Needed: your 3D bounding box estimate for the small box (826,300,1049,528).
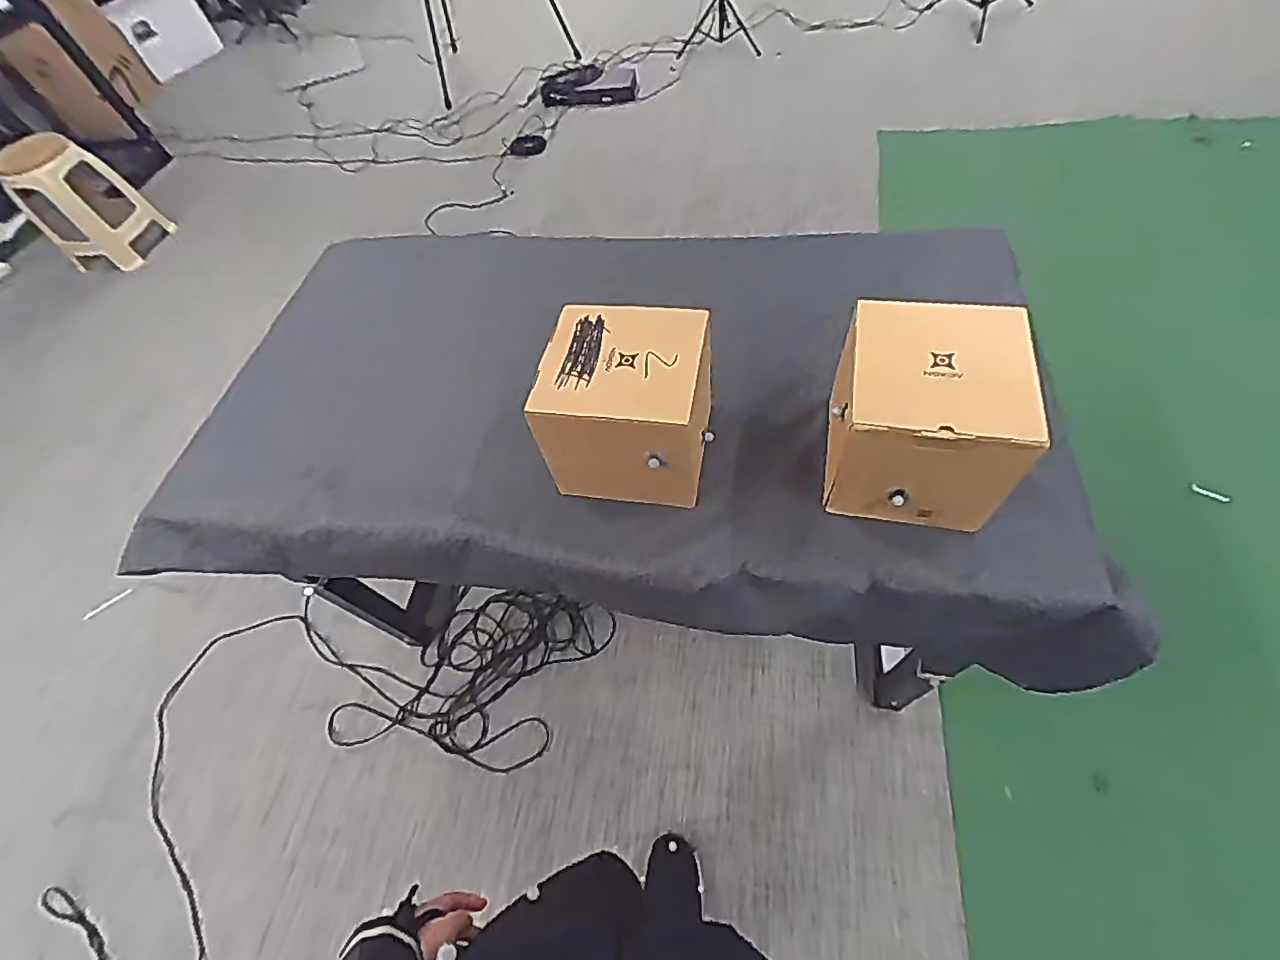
[{"bbox_3d":[0.305,-0.070,0.596,0.168,0.176,0.179,7,60,13],"label":"small box"}]
